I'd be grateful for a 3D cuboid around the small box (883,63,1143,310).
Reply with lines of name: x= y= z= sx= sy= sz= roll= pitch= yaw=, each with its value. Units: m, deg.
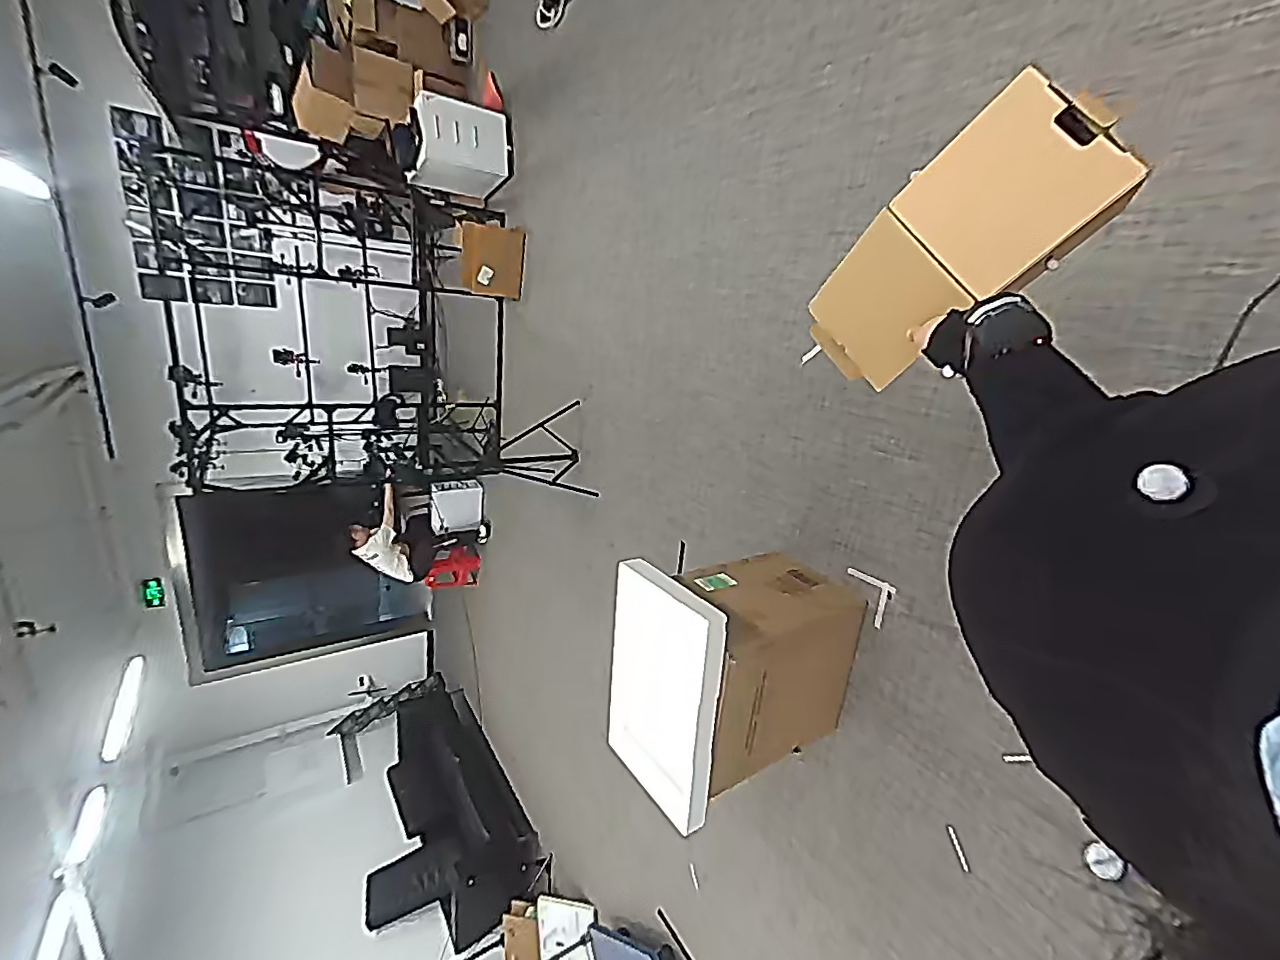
small box: x=0.429 y=-0.323 z=0.640 sx=0.179 sy=0.176 sz=0.168 roll=-43 pitch=76 yaw=33
